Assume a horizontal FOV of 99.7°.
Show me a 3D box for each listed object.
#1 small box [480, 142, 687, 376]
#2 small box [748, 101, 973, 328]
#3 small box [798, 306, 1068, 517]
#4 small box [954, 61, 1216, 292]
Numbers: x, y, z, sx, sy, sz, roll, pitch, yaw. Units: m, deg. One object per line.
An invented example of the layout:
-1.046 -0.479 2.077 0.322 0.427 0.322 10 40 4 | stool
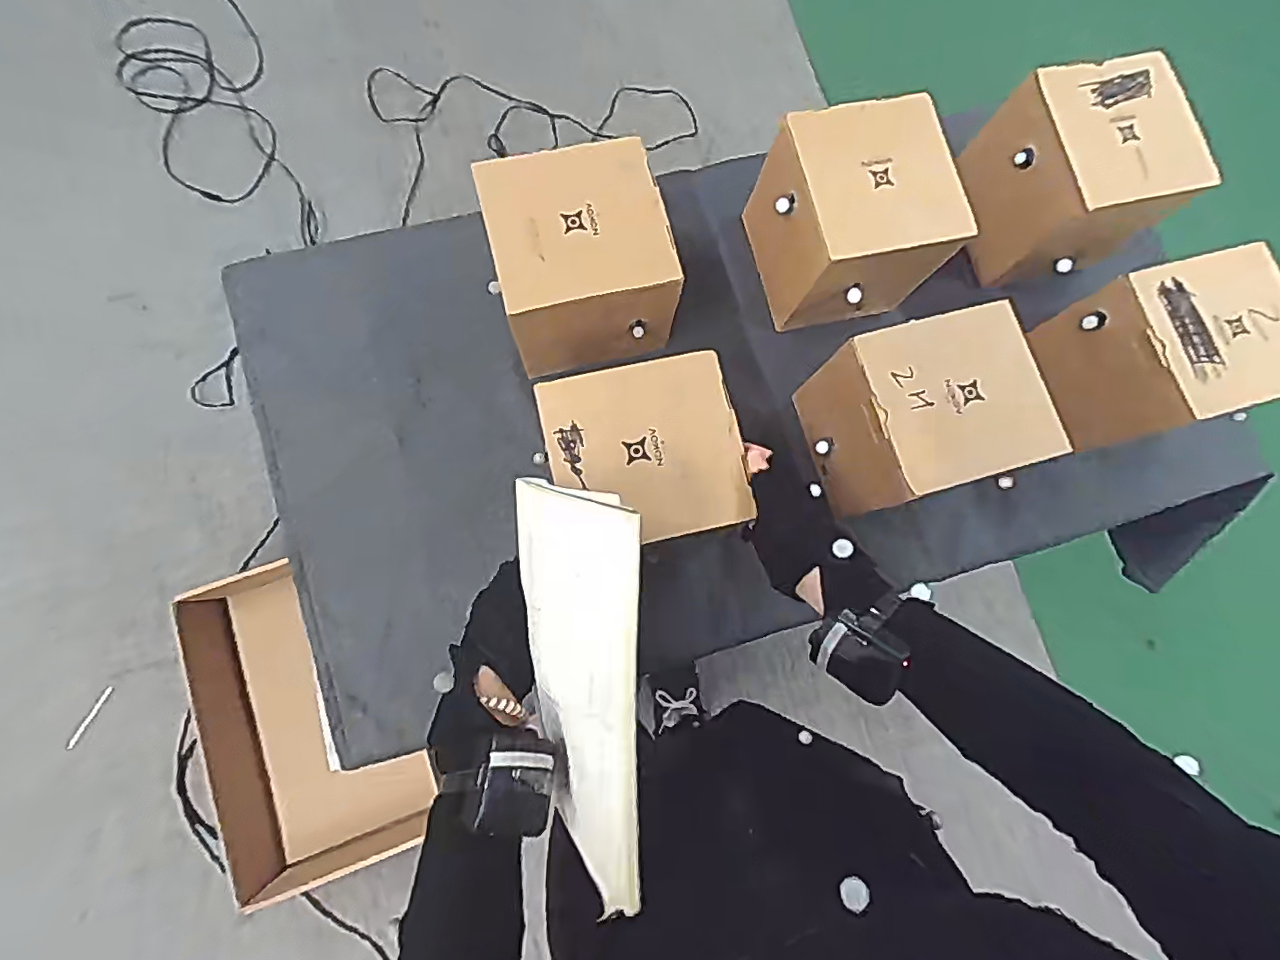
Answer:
-0.063 -0.234 0.606 0.179 0.176 0.168 -13 80 -7 | small box
0.244 -0.298 0.643 0.168 0.176 0.179 -12 80 -6 | small box
0.303 -0.064 0.599 0.179 0.176 0.168 -14 80 -6 | small box
0.524 -0.365 0.673 0.168 0.176 0.179 -12 81 -6 | small box
